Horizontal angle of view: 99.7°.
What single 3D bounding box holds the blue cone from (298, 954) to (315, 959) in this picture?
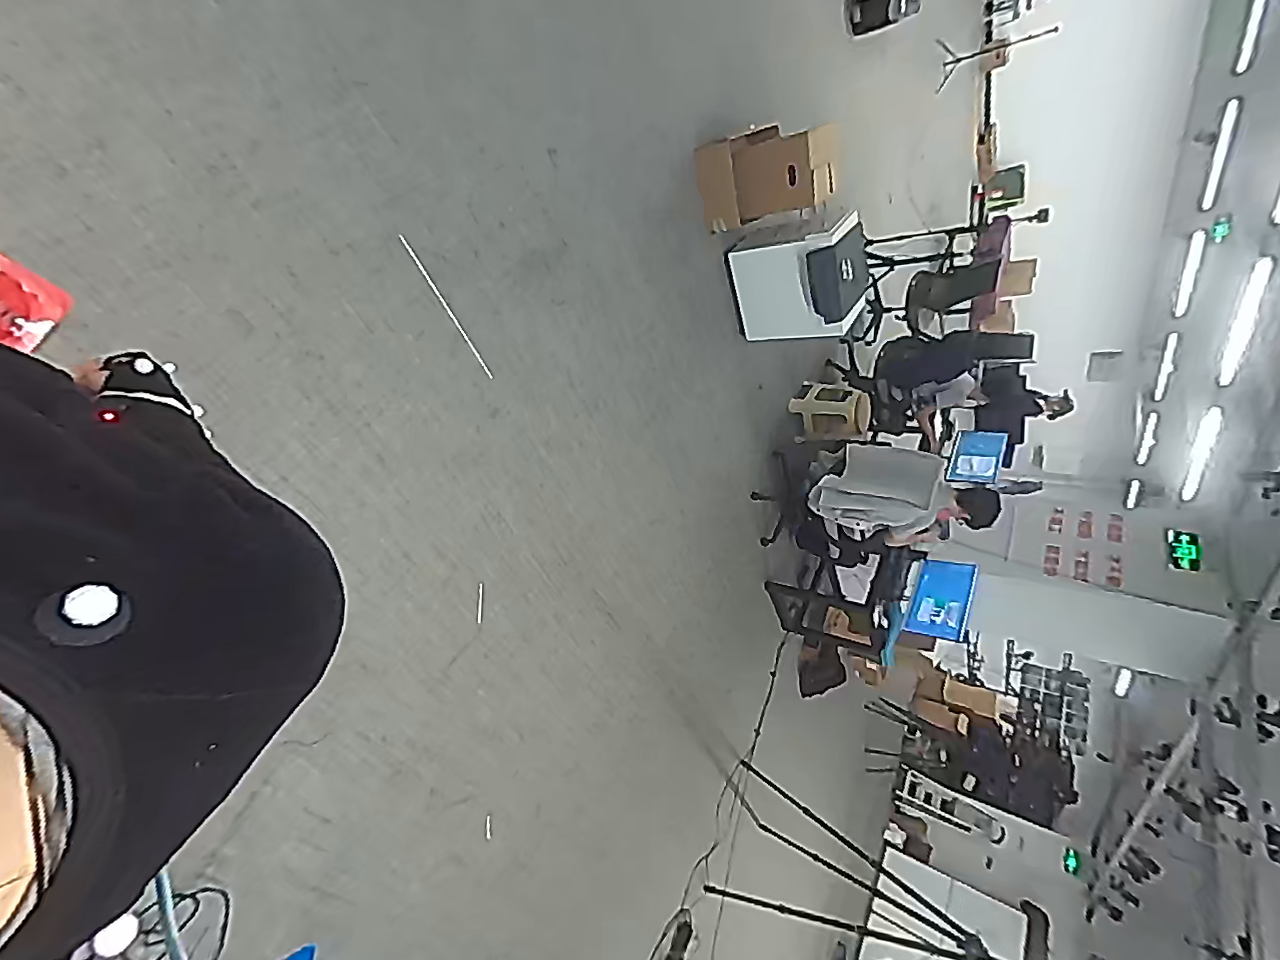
[{"bbox_3d":[-0.851,1.440,1.376,0.193,0.380,0.192,0,95,-55],"label":"blue cone"}]
